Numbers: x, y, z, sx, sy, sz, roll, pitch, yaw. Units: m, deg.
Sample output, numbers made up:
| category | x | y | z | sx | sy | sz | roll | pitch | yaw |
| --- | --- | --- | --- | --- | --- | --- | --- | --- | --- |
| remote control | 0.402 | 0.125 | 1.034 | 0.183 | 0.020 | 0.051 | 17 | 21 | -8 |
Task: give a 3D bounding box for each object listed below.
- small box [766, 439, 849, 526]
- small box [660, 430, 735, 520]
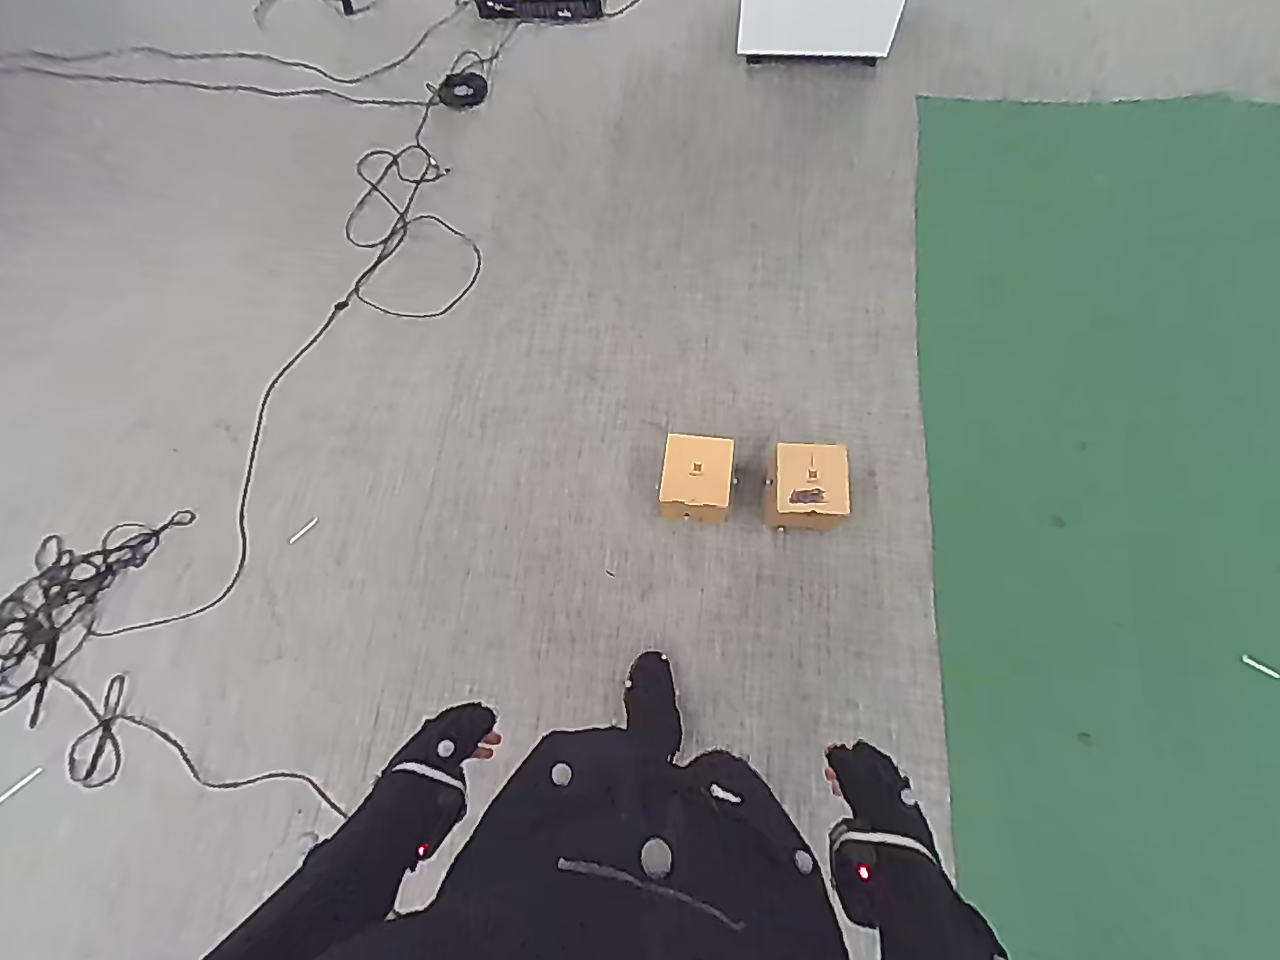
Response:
| category | x | y | z | sx | sy | sz | roll | pitch | yaw |
| --- | --- | --- | --- | --- | --- | --- | --- | --- | --- |
| small box | 0.410 | 0.012 | 1.340 | 0.168 | 0.176 | 0.179 | 3 | 72 | 5 |
| small box | 0.143 | -0.009 | 1.369 | 0.168 | 0.176 | 0.179 | 6 | 73 | 6 |
